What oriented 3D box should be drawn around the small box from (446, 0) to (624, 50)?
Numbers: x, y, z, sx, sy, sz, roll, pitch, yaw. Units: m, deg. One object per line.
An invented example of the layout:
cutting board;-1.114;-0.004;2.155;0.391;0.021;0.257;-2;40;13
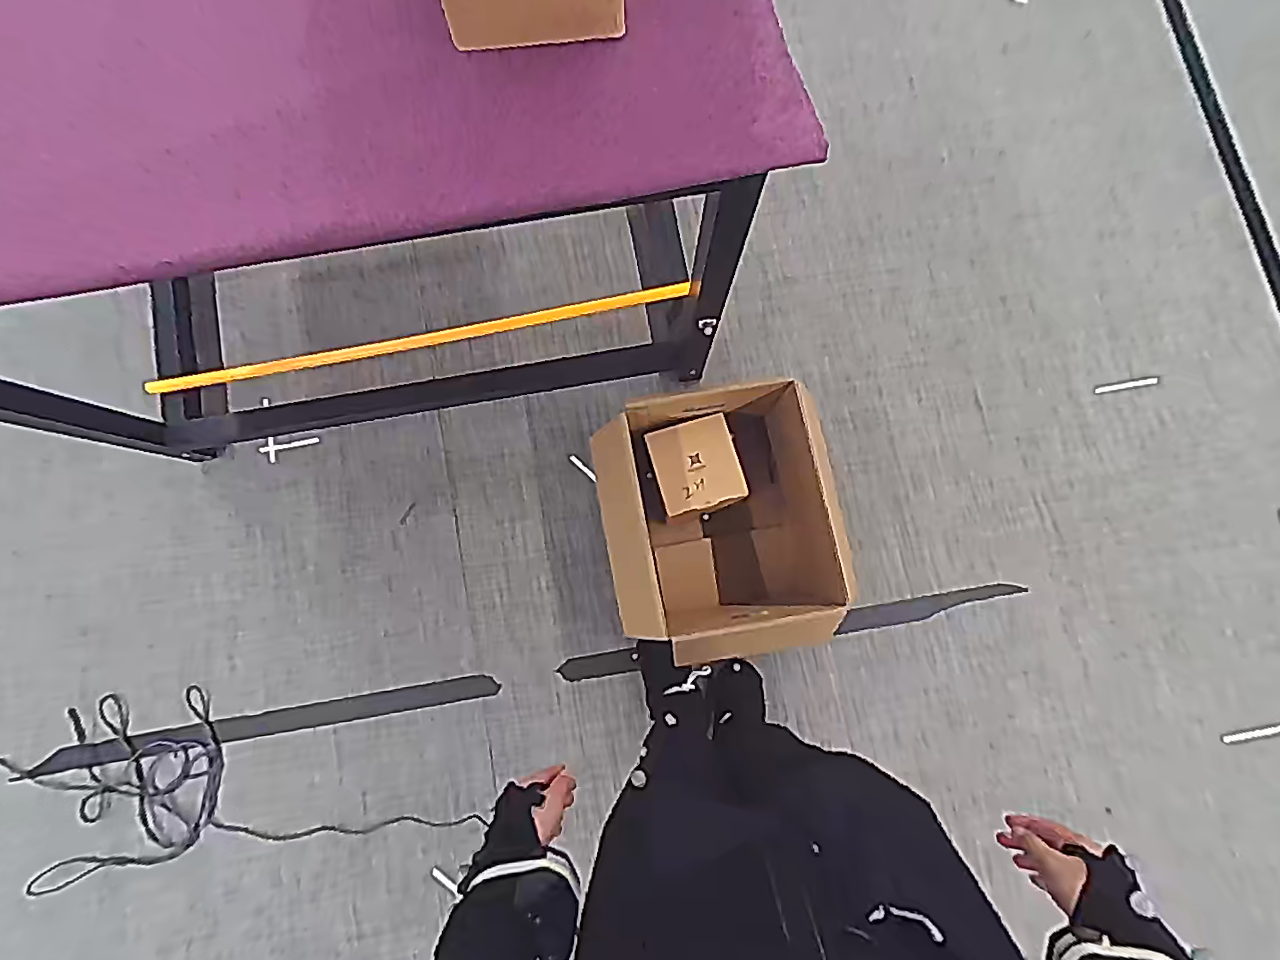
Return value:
small box;-0.105;-0.541;0.493;0.179;0.176;0.168;-5;81;0
